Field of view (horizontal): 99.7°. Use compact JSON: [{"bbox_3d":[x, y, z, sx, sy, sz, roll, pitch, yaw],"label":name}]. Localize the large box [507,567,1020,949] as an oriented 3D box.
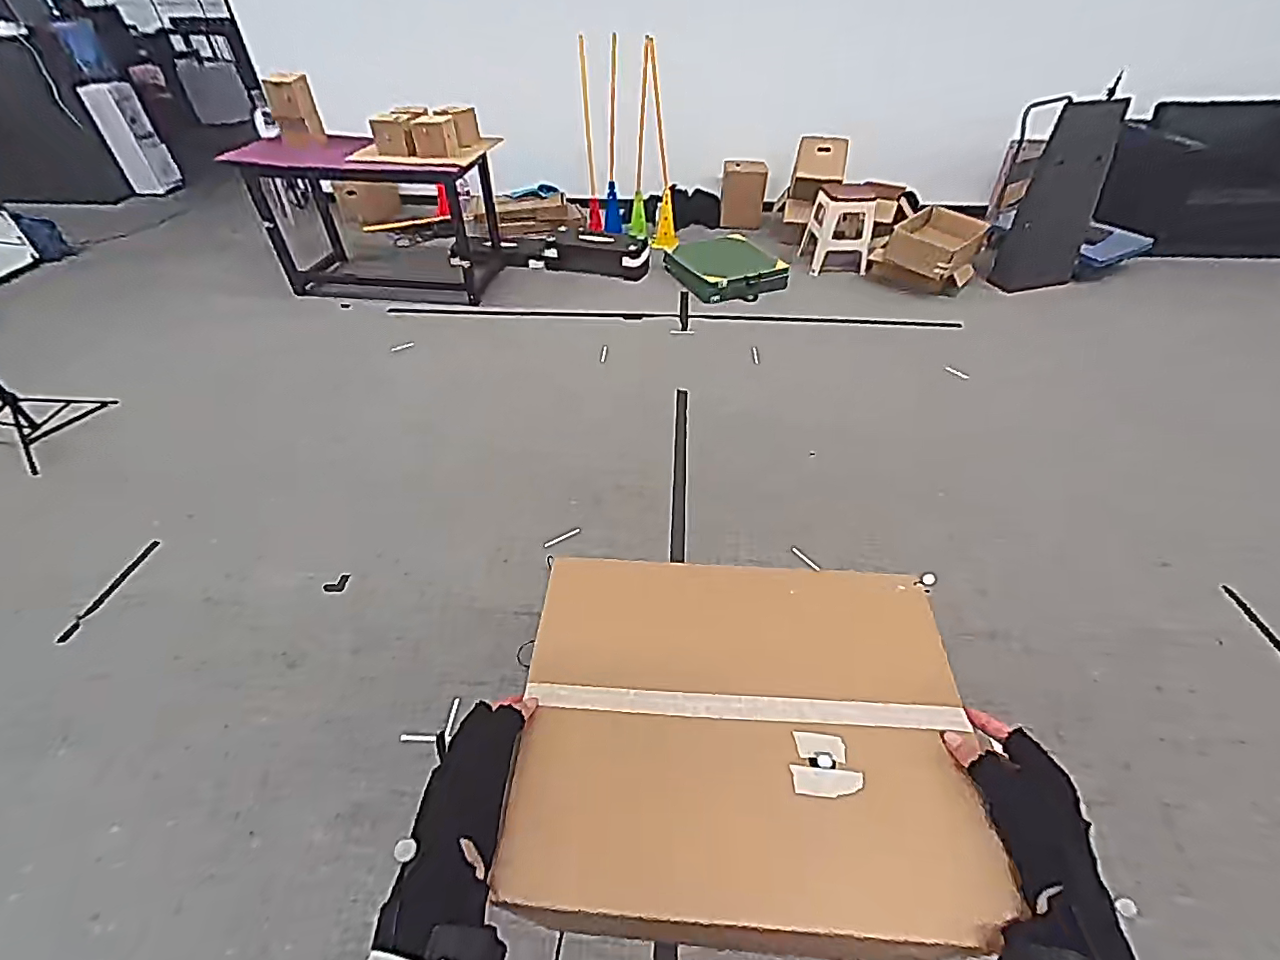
[{"bbox_3d":[0.100,0.319,0.624,0.408,0.320,0.320,2,48,4],"label":"large box"}]
